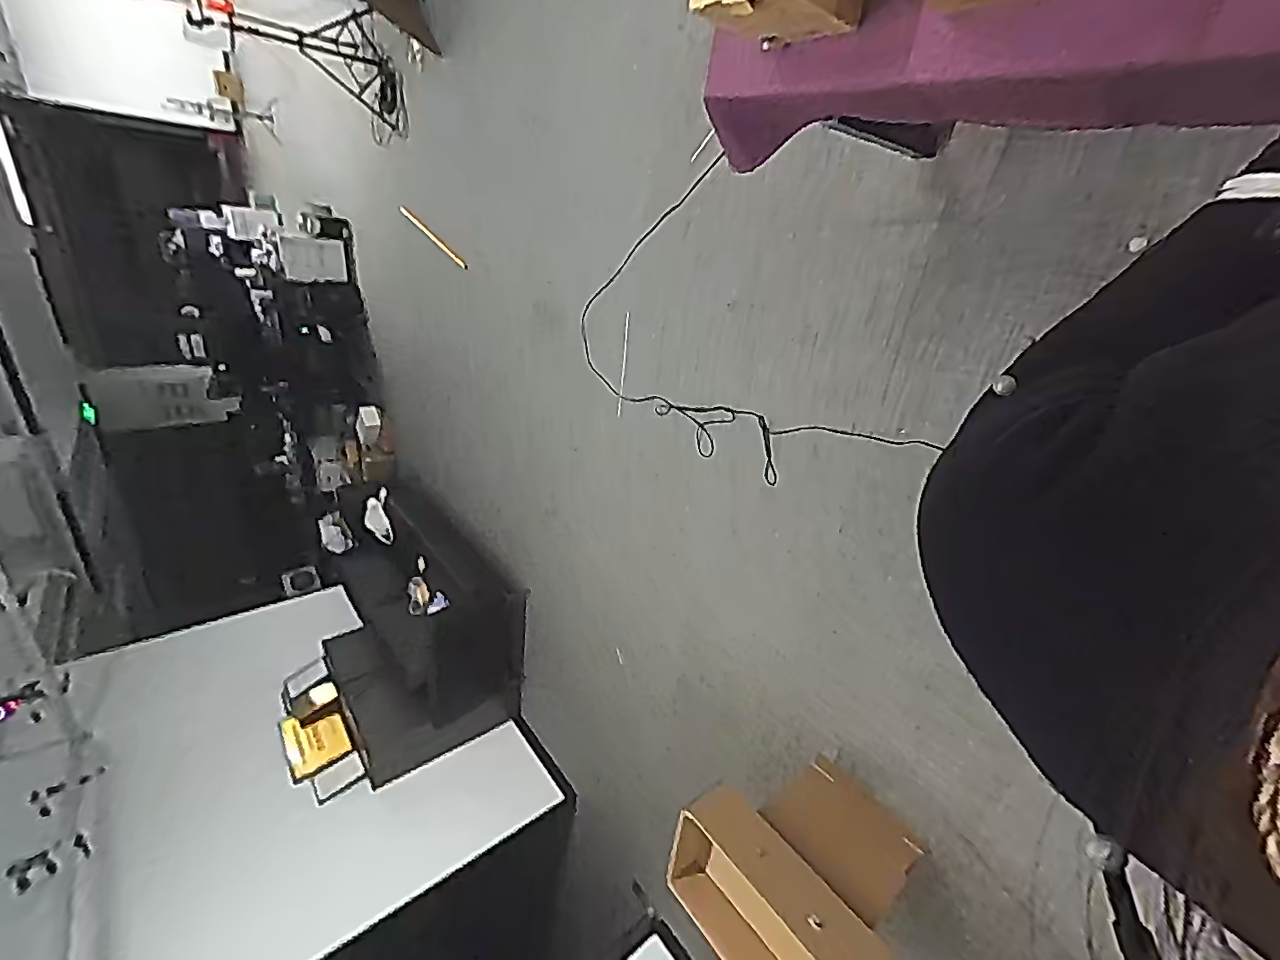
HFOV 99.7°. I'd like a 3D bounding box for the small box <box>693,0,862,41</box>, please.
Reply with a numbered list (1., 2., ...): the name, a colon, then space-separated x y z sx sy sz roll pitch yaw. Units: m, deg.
1. small box: 0.196 -0.707 0.706 0.168 0.176 0.179 32 123 42
